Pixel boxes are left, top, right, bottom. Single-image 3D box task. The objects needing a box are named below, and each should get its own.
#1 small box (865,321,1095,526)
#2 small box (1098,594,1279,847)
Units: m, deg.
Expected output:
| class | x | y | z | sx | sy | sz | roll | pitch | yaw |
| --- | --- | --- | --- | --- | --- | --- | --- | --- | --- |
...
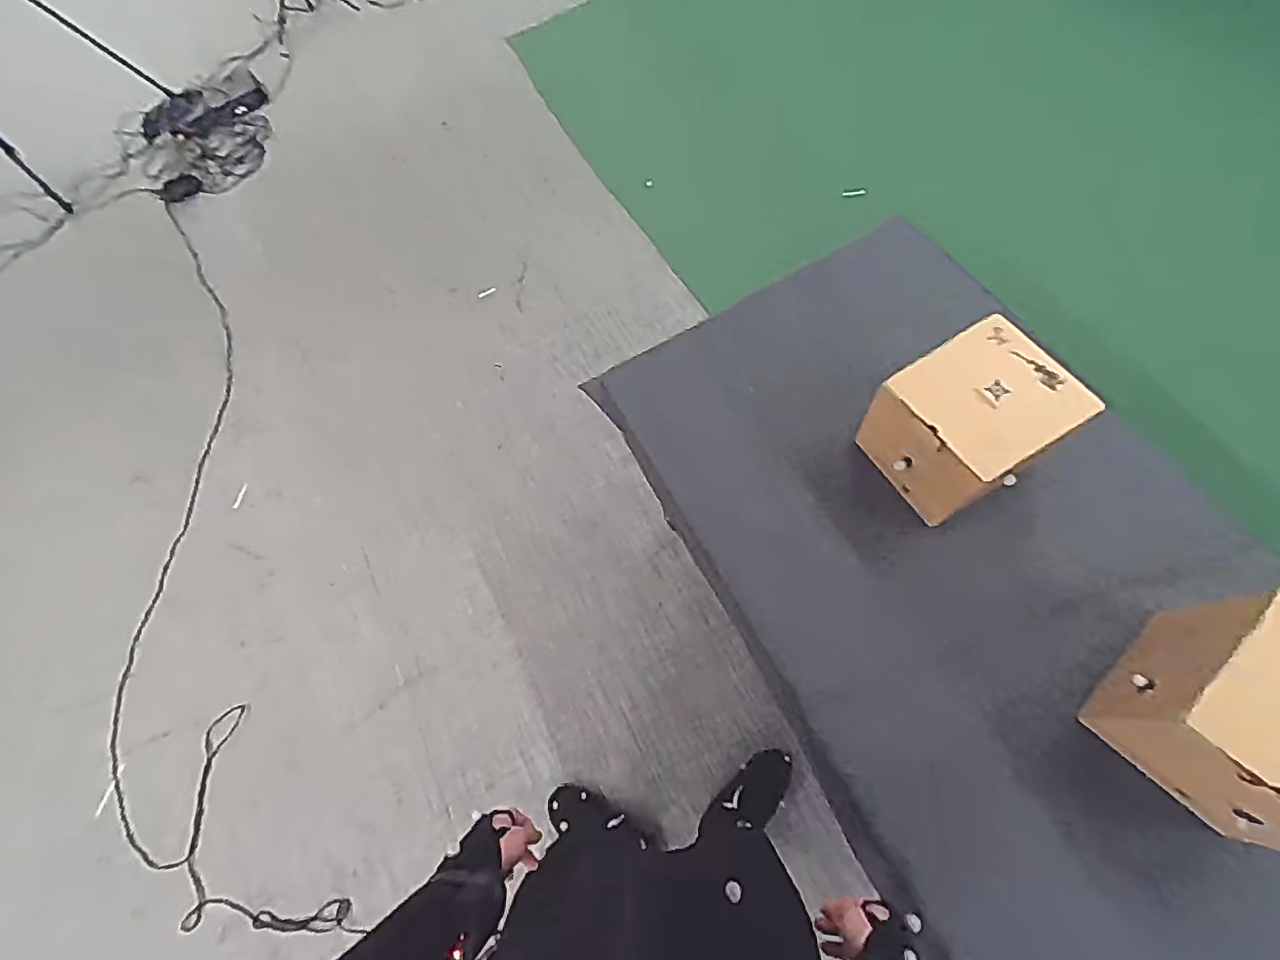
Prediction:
| class | x | y | z | sx | sy | sz | roll | pitch | yaw |
| --- | --- | --- | --- | --- | --- | --- | --- | --- | --- |
| small box | 0.424 | -0.065 | 0.717 | 0.179 | 0.176 | 0.168 | -33 | 64 | -6 |
| small box | 0.619 | 0.241 | 0.538 | 0.179 | 0.176 | 0.168 | -42 | 70 | -9 |
